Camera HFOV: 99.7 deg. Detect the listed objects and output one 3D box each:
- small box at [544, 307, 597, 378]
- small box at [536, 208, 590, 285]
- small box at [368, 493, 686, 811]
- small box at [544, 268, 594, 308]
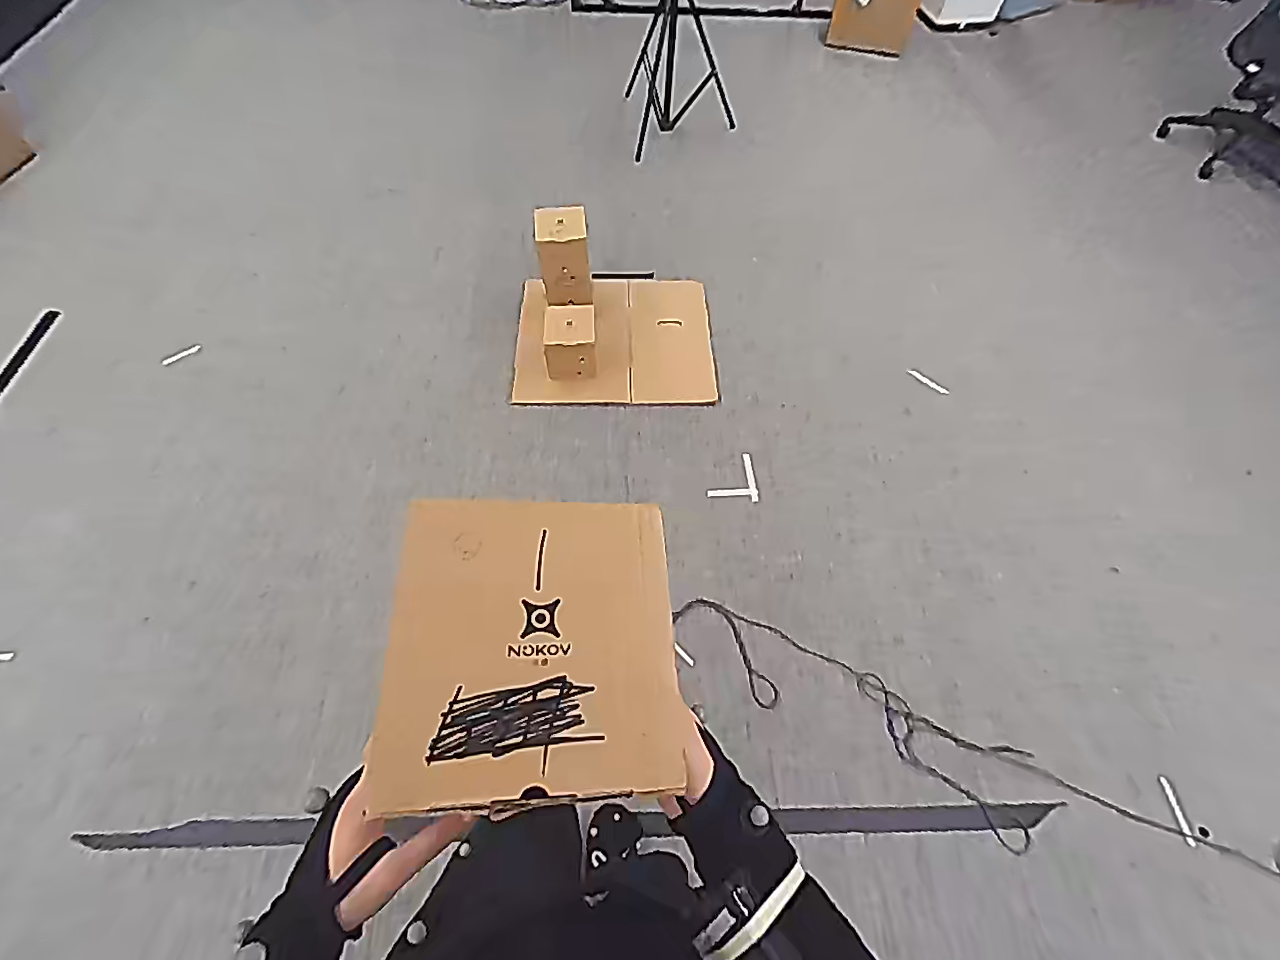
[{"bbox_3d":[-0.231,-0.460,1.828,0.168,0.176,0.179,-3,59,-4],"label":"small box"},{"bbox_3d":[-0.260,-0.788,1.828,0.168,0.176,0.179,-6,60,-4],"label":"small box"},{"bbox_3d":[-0.072,0.126,0.385,0.168,0.176,0.179,2,59,-11],"label":"small box"},{"bbox_3d":[-0.260,-0.703,1.969,0.168,0.176,0.179,-7,61,-6],"label":"small box"}]
